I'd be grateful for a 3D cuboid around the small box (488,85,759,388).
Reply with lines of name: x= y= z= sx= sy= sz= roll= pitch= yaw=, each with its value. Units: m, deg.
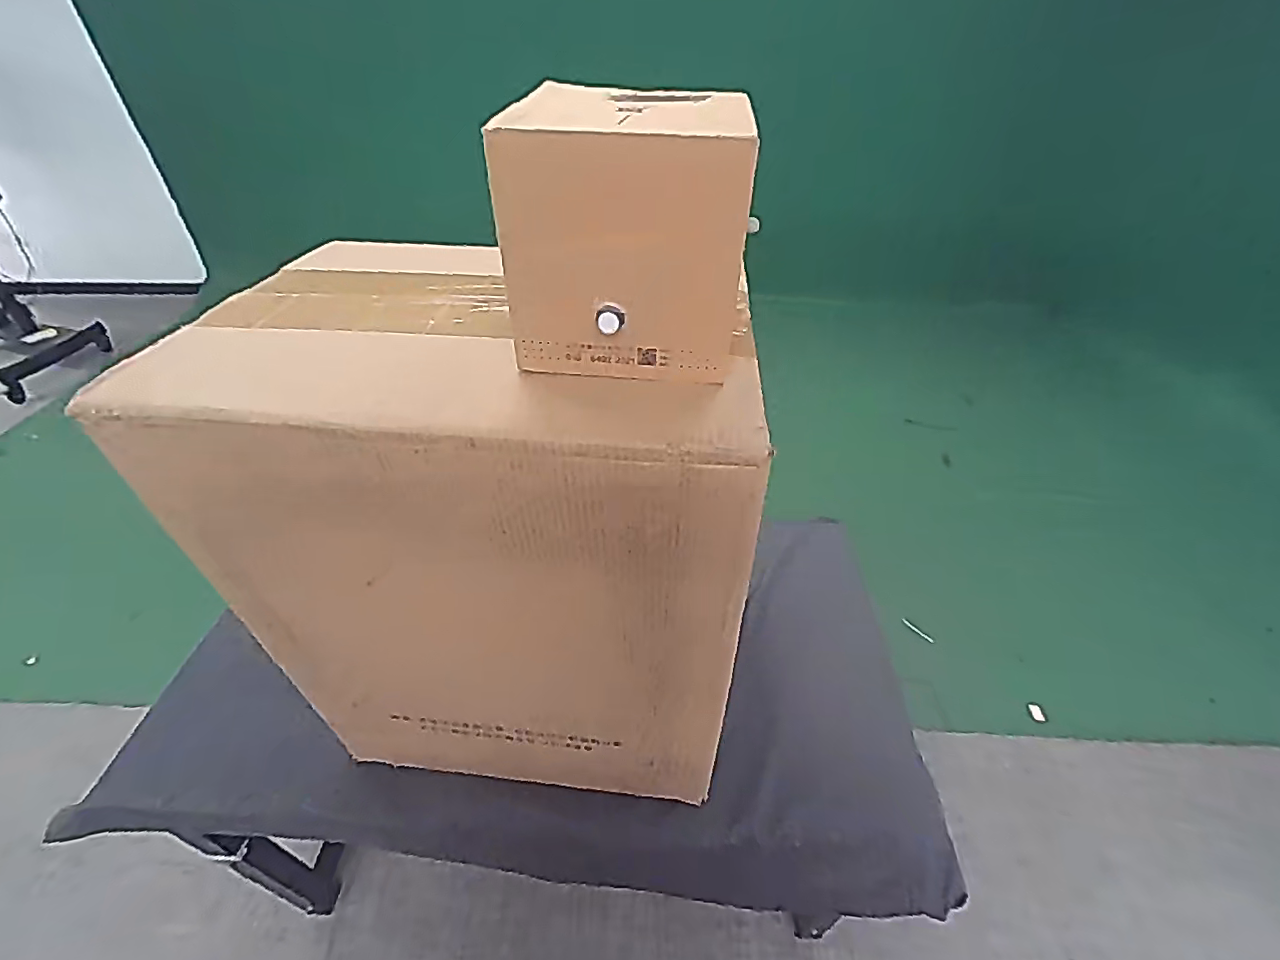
small box: x=-0.004 y=-0.196 z=0.431 sx=0.168 sy=0.176 sz=0.179 roll=5 pitch=44 yaw=4
